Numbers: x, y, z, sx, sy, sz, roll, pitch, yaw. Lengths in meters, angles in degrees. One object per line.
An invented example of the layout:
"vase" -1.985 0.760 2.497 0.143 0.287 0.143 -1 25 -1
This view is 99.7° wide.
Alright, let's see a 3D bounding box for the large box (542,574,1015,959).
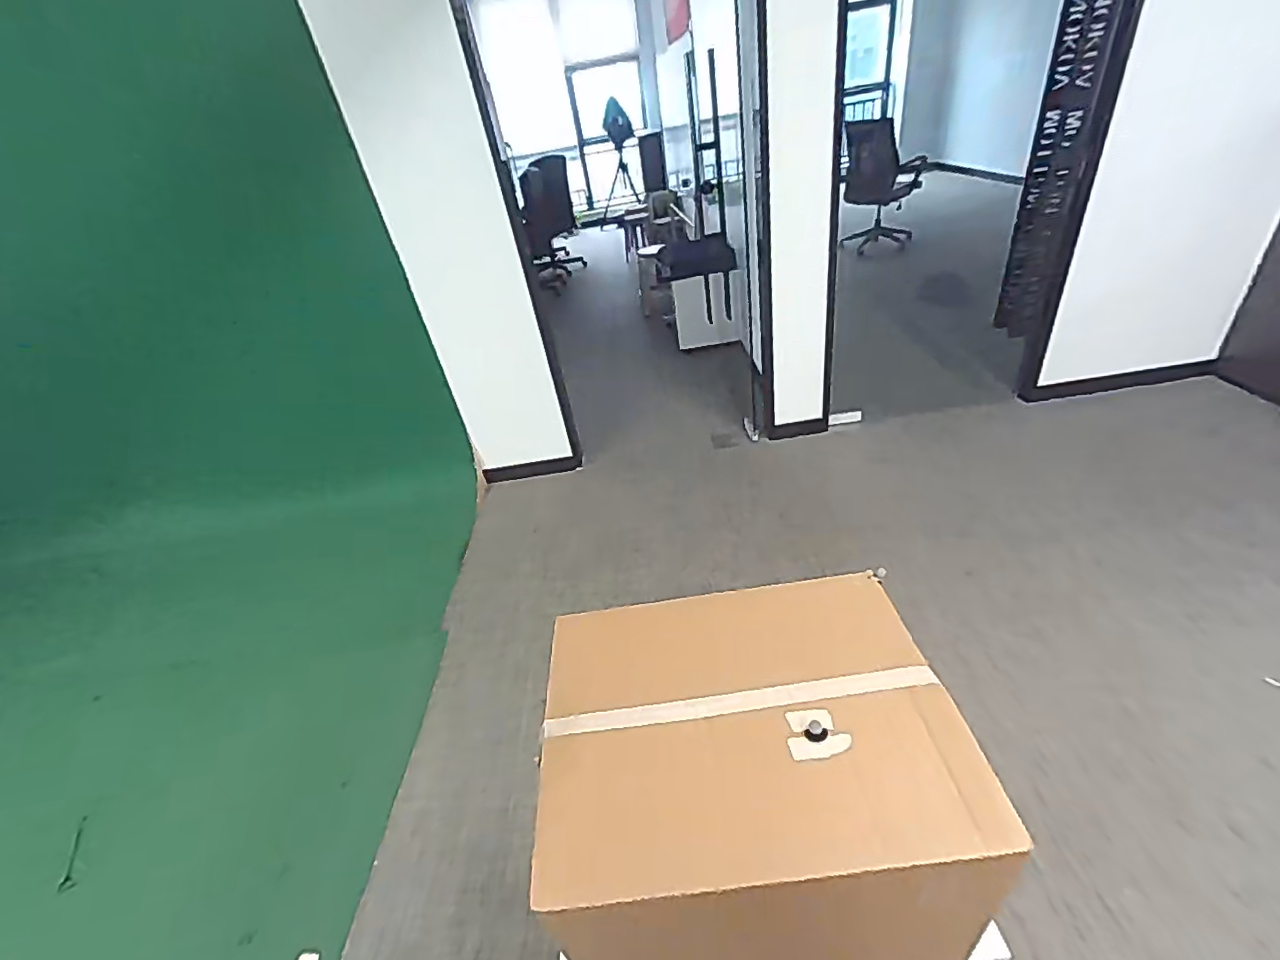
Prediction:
"large box" 0.121 0.355 0.646 0.408 0.320 0.320 -8 34 1
